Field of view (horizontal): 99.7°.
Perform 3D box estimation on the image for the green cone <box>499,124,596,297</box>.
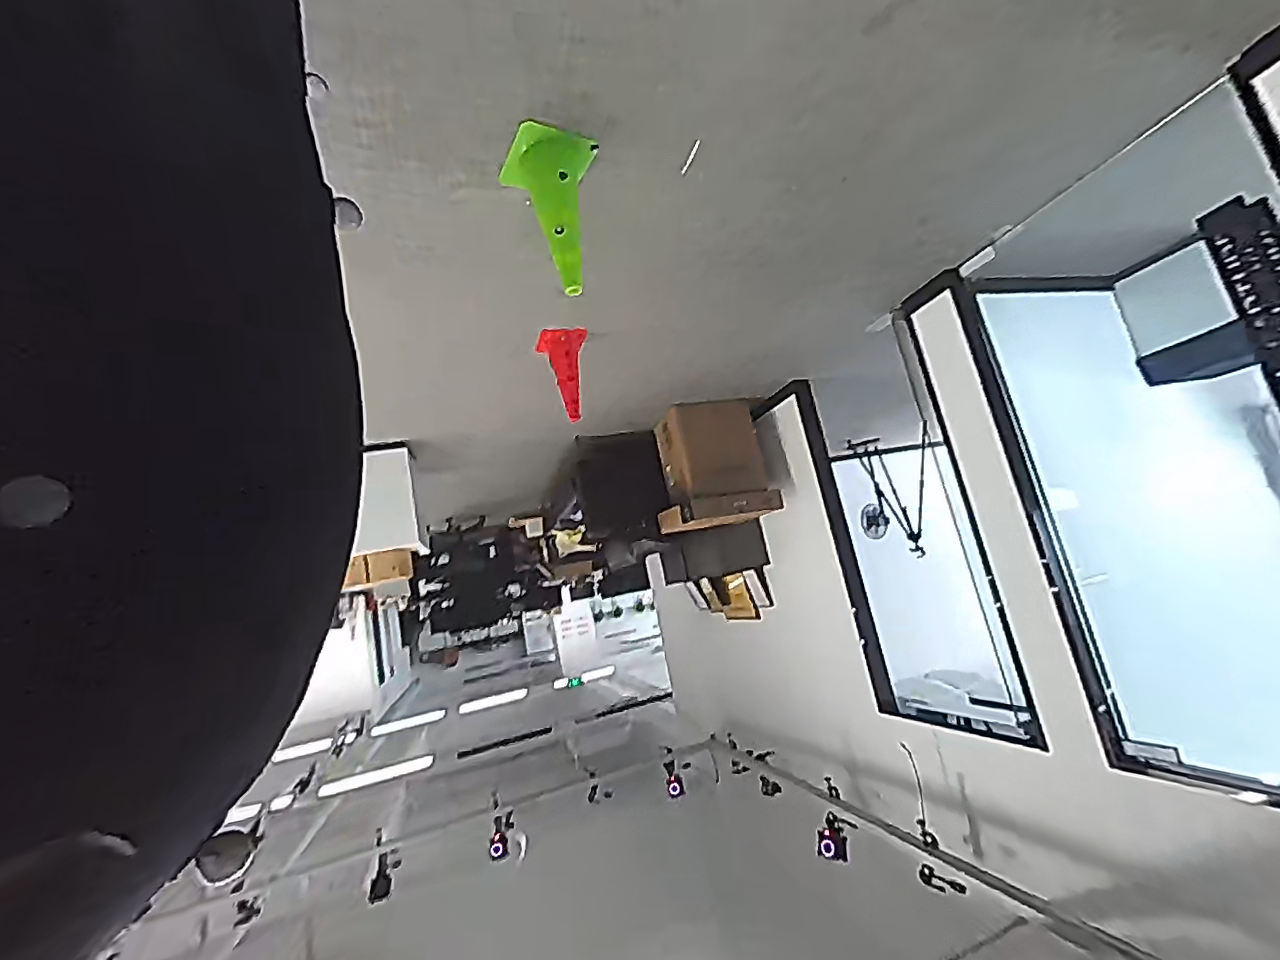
[{"bbox_3d":[-0.197,-0.616,1.303,0.200,0.368,0.202,-5,168,-32],"label":"green cone"}]
